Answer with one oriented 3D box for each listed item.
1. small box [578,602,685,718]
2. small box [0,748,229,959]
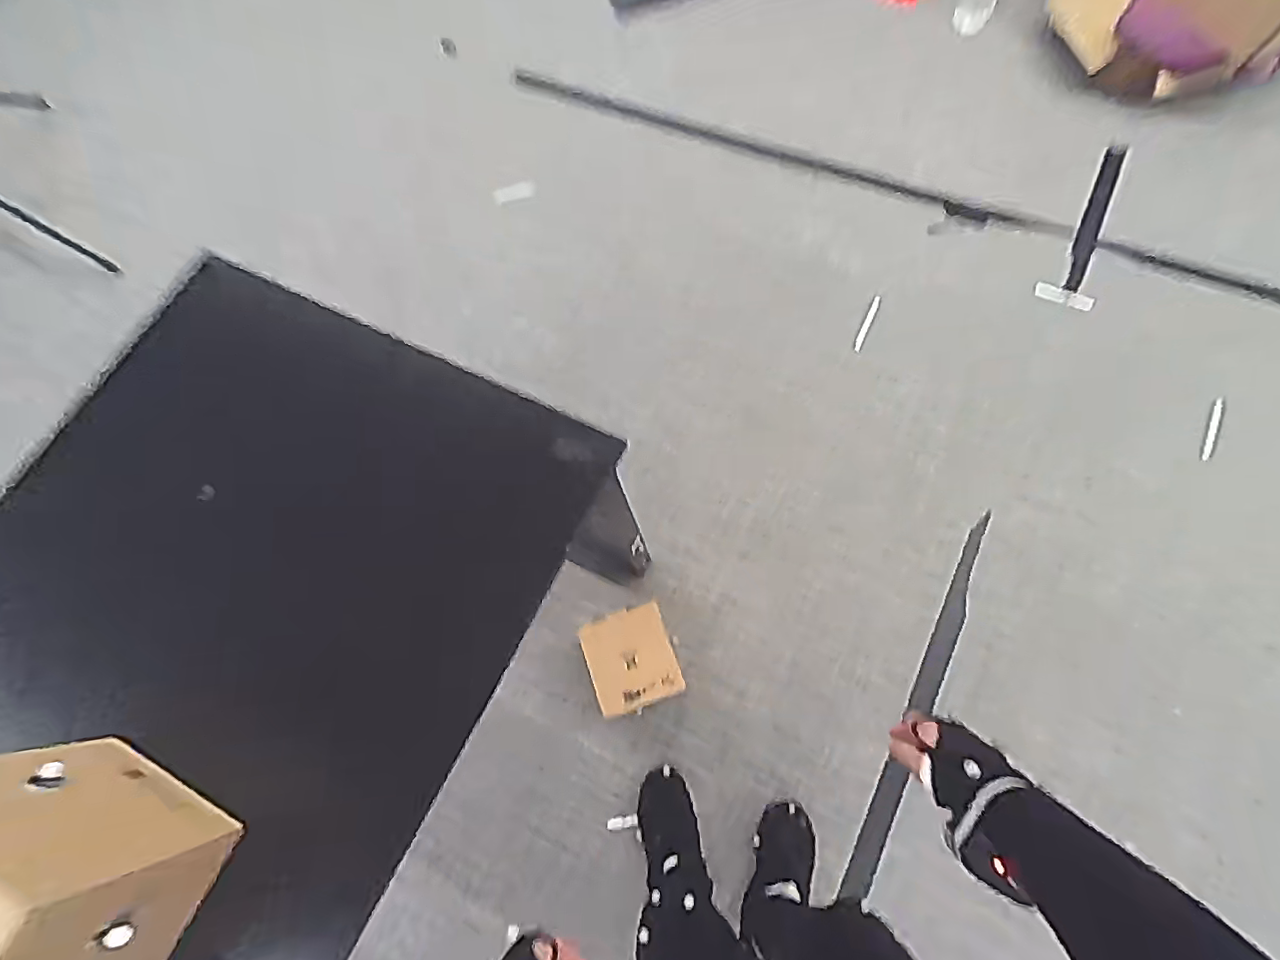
[{"bbox_3d":[-0.014,0.369,1.115,0.168,0.176,0.179,-20,72,-1],"label":"small box"},{"bbox_3d":[-0.462,0.327,0.400,0.168,0.176,0.179,23,76,13],"label":"small box"}]
